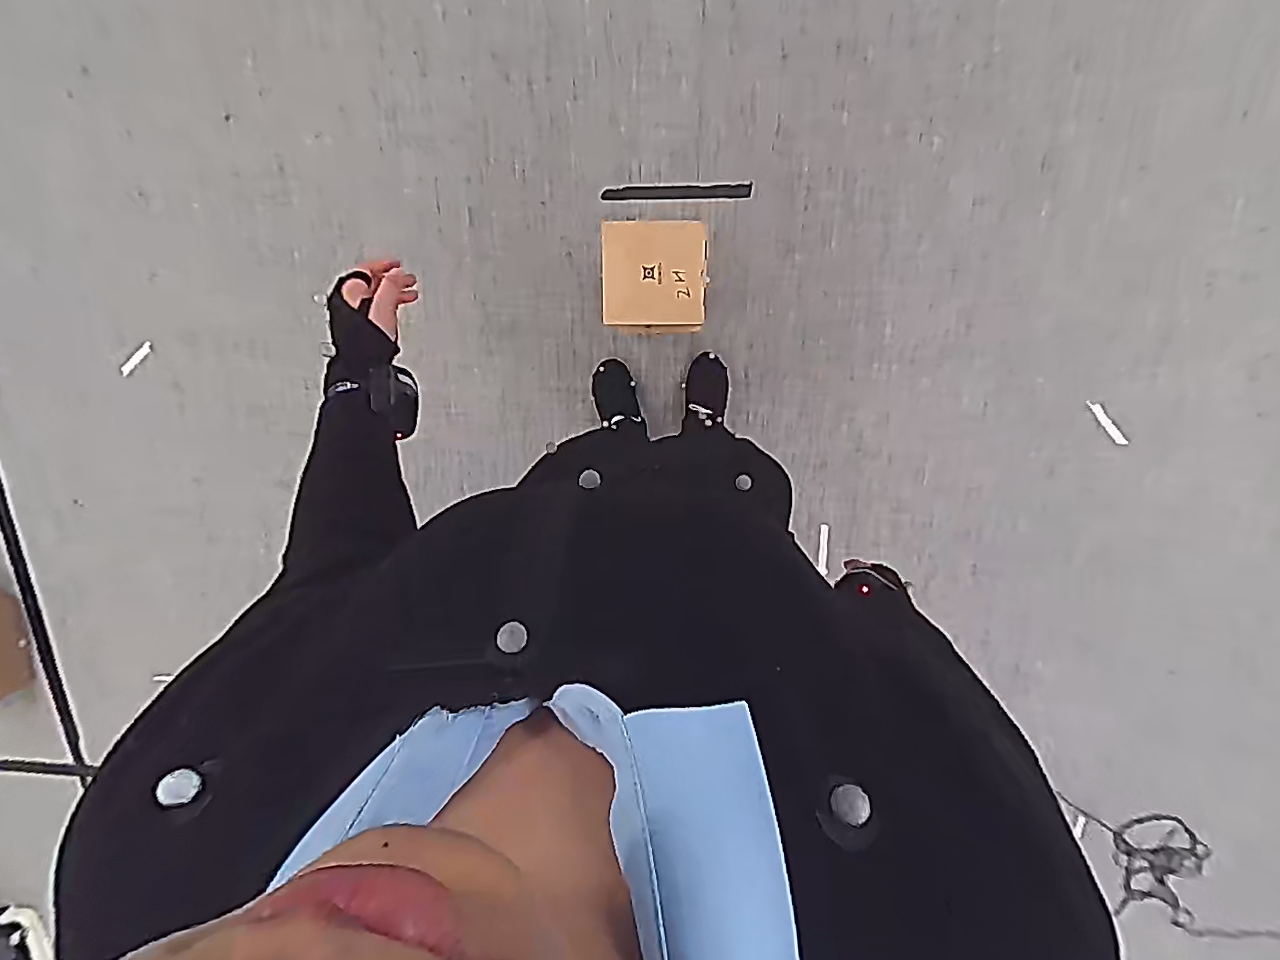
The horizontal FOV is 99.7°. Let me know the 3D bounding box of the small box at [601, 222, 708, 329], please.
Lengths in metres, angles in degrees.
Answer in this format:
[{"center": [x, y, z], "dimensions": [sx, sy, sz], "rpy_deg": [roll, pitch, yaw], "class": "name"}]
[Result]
[{"center": [0.026, -0.360, 0.977], "dimensions": [0.179, 0.176, 0.168], "rpy_deg": [1, 106, 2], "class": "small box"}]
